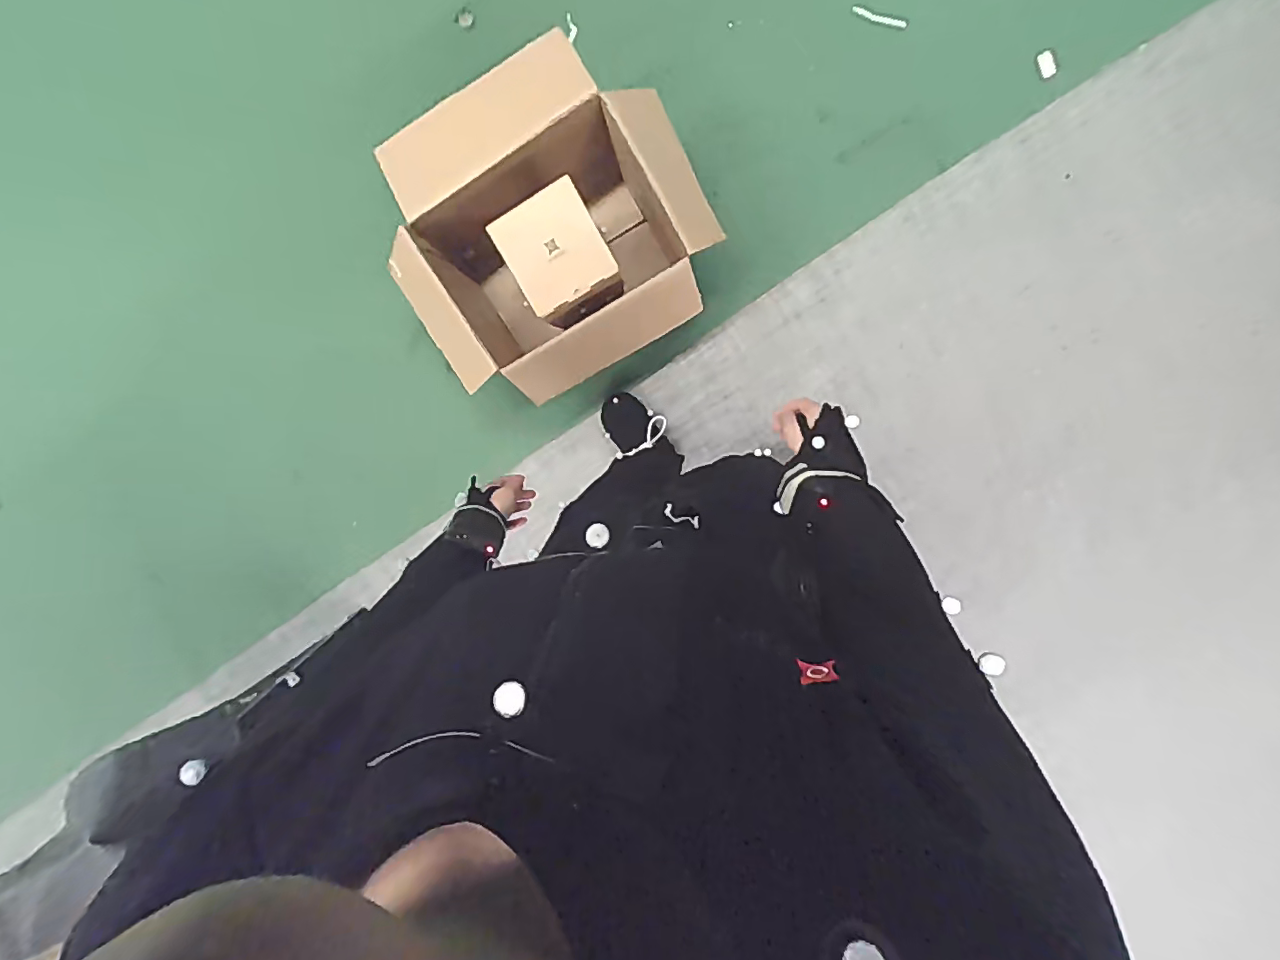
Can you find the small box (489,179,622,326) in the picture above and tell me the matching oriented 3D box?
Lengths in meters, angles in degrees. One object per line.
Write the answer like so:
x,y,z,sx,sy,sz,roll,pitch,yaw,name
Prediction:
-0.144,-0.402,0.989,0.168,0.176,0.179,-30,100,6,small box
